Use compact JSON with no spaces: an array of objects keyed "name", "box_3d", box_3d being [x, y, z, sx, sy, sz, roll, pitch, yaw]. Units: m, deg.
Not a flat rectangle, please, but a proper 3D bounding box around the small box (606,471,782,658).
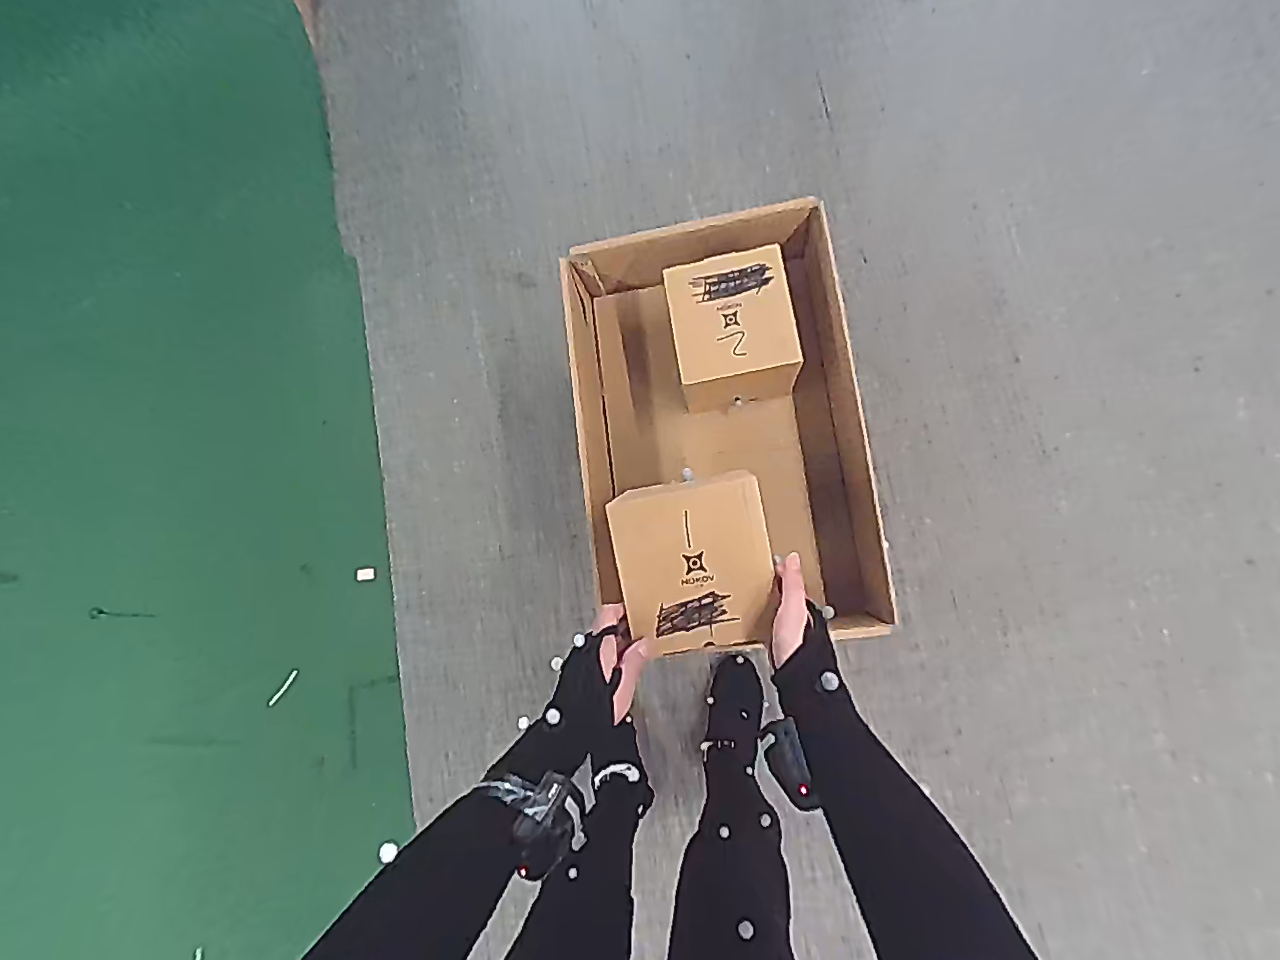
[{"name":"small box","box_3d":[0.067,0.090,0.651,0.168,0.176,0.179,-11,91,7]}]
